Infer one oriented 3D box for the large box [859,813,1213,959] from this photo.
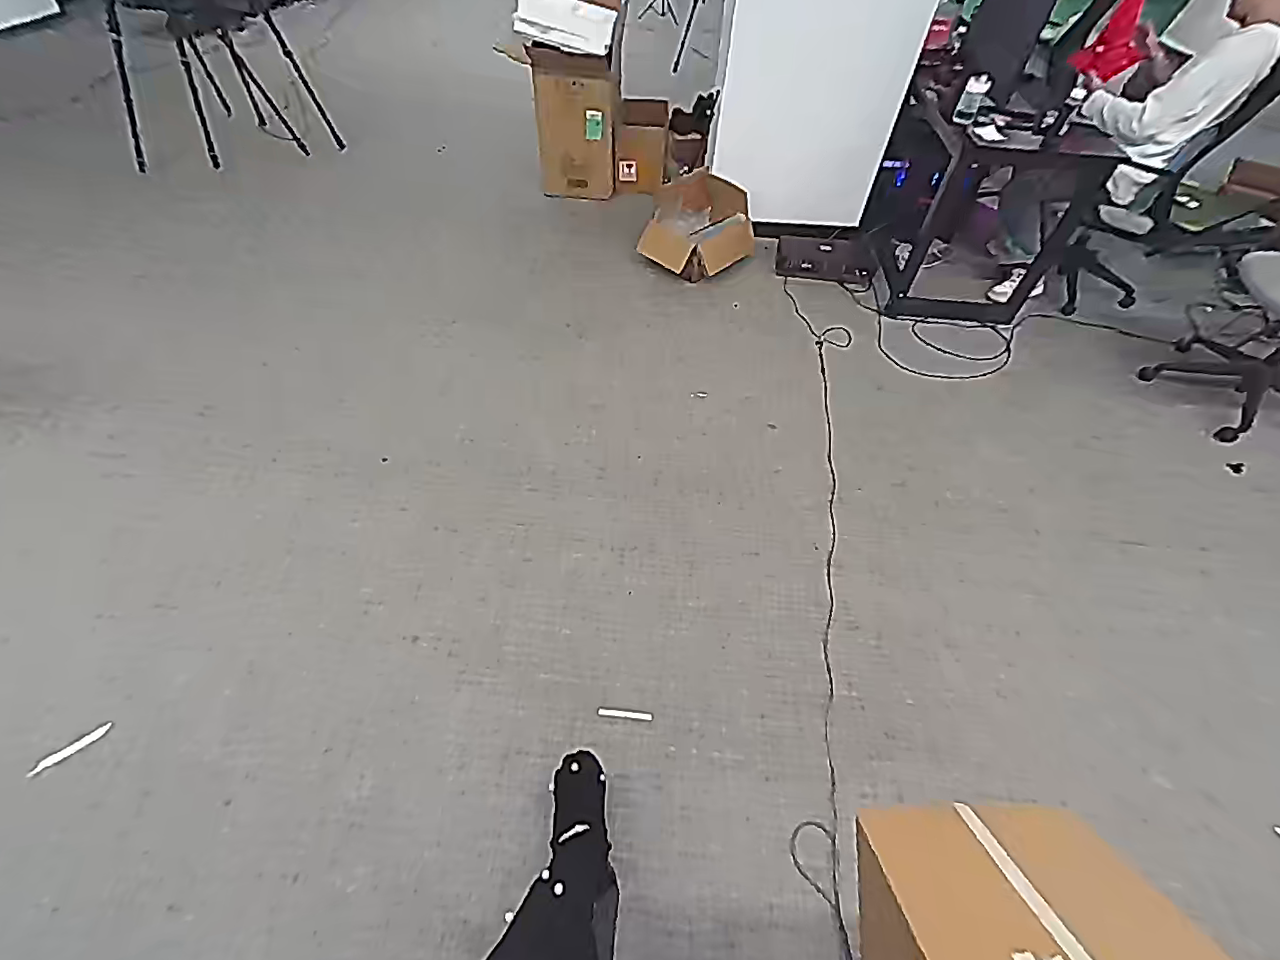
[{"bbox_3d":[0.478,0.672,0.630,0.320,0.408,0.320,-3,95,4],"label":"large box"}]
